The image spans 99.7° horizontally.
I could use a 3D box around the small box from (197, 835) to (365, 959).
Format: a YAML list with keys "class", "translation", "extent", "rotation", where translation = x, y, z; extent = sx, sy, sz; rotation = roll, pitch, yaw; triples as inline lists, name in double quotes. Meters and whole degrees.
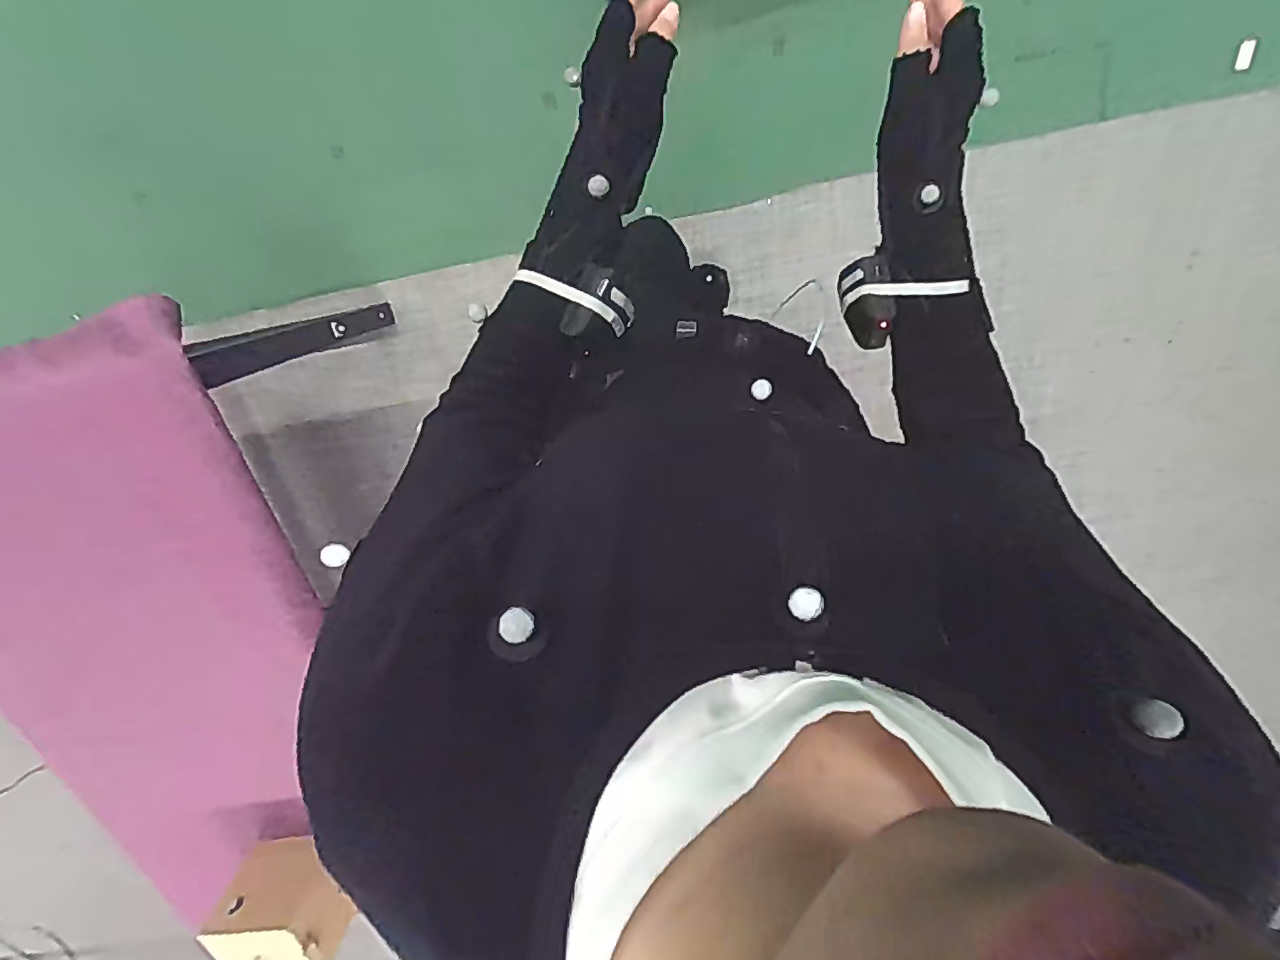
- class: "small box"
  translation: [-0.668, 0.814, 1.030]
  extent: [0.179, 0.176, 0.168]
  rotation: [-8, 113, 5]
